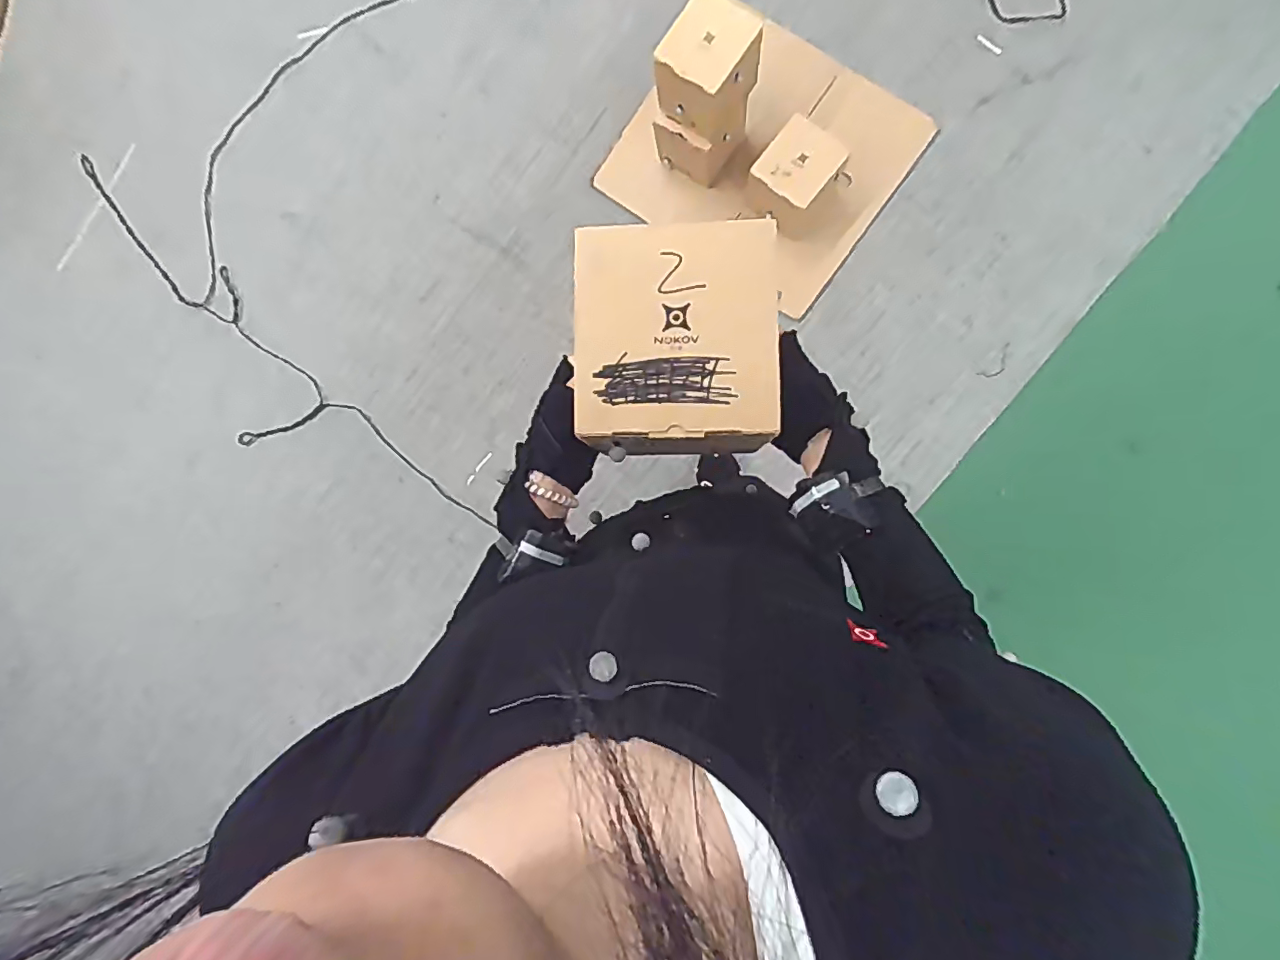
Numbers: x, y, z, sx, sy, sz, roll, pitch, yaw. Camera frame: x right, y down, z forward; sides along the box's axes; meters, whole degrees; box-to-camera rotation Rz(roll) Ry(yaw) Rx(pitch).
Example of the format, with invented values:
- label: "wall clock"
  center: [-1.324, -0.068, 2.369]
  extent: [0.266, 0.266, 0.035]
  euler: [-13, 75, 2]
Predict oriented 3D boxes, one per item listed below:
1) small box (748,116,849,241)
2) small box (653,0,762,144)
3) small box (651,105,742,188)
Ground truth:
- label: "small box"
  center: [0.384, -0.741, 1.348]
  extent: [0.168, 0.176, 0.179]
  euler: [41, 96, 7]
- label: "small box"
  center: [0.149, -0.912, 1.213]
  extent: [0.168, 0.176, 0.179]
  euler: [37, 95, 6]
- label: "small box"
  center: [0.151, -0.892, 1.377]
  extent: [0.168, 0.176, 0.179]
  euler: [34, 94, 6]
